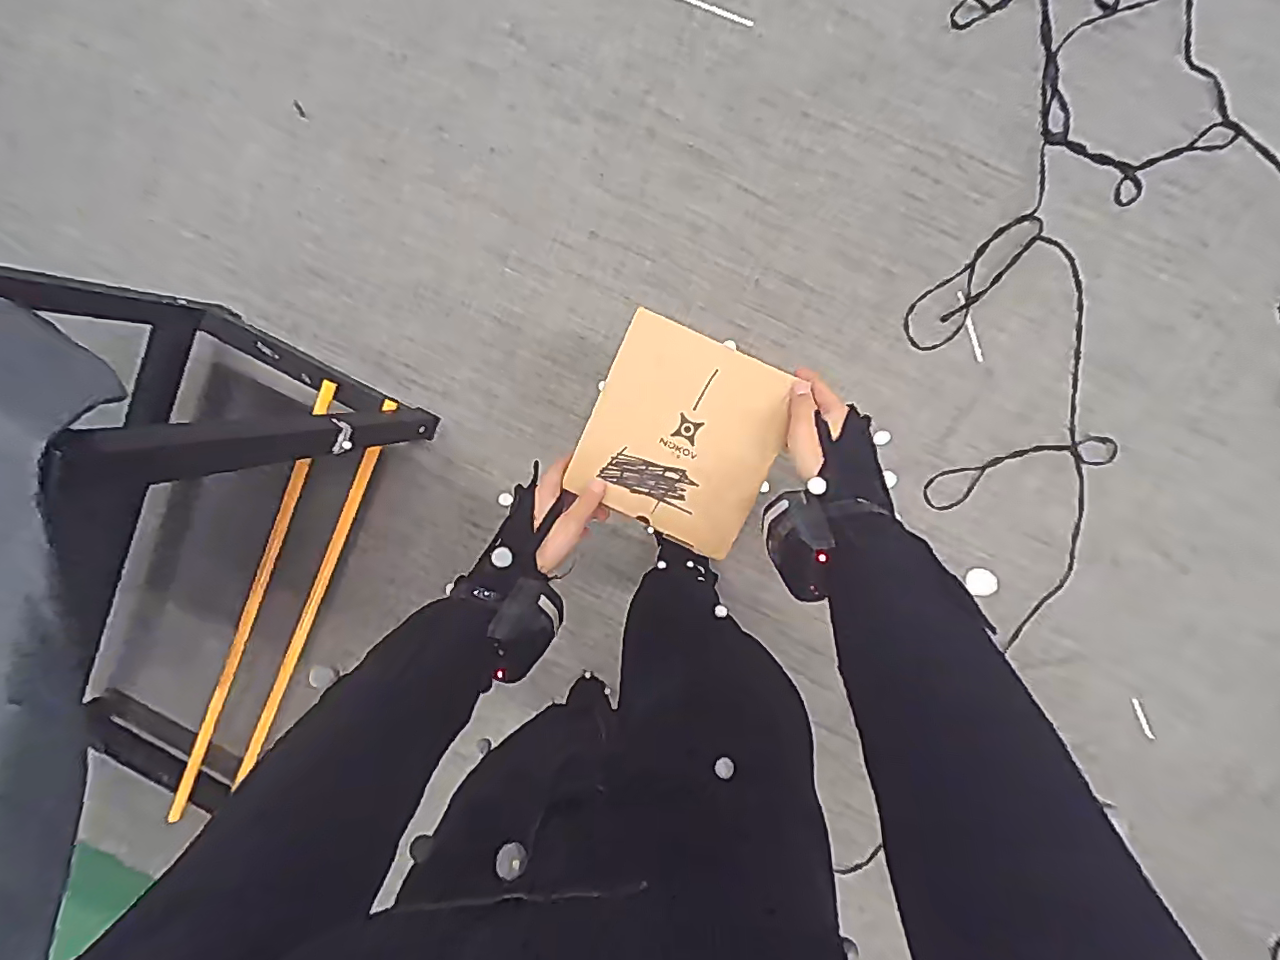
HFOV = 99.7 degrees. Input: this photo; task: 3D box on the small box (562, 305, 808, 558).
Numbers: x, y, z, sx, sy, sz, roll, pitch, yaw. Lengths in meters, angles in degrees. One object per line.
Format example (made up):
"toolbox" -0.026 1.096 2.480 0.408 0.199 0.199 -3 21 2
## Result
"small box" 0.044 -0.051 0.552 0.168 0.176 0.179 25 100 1
